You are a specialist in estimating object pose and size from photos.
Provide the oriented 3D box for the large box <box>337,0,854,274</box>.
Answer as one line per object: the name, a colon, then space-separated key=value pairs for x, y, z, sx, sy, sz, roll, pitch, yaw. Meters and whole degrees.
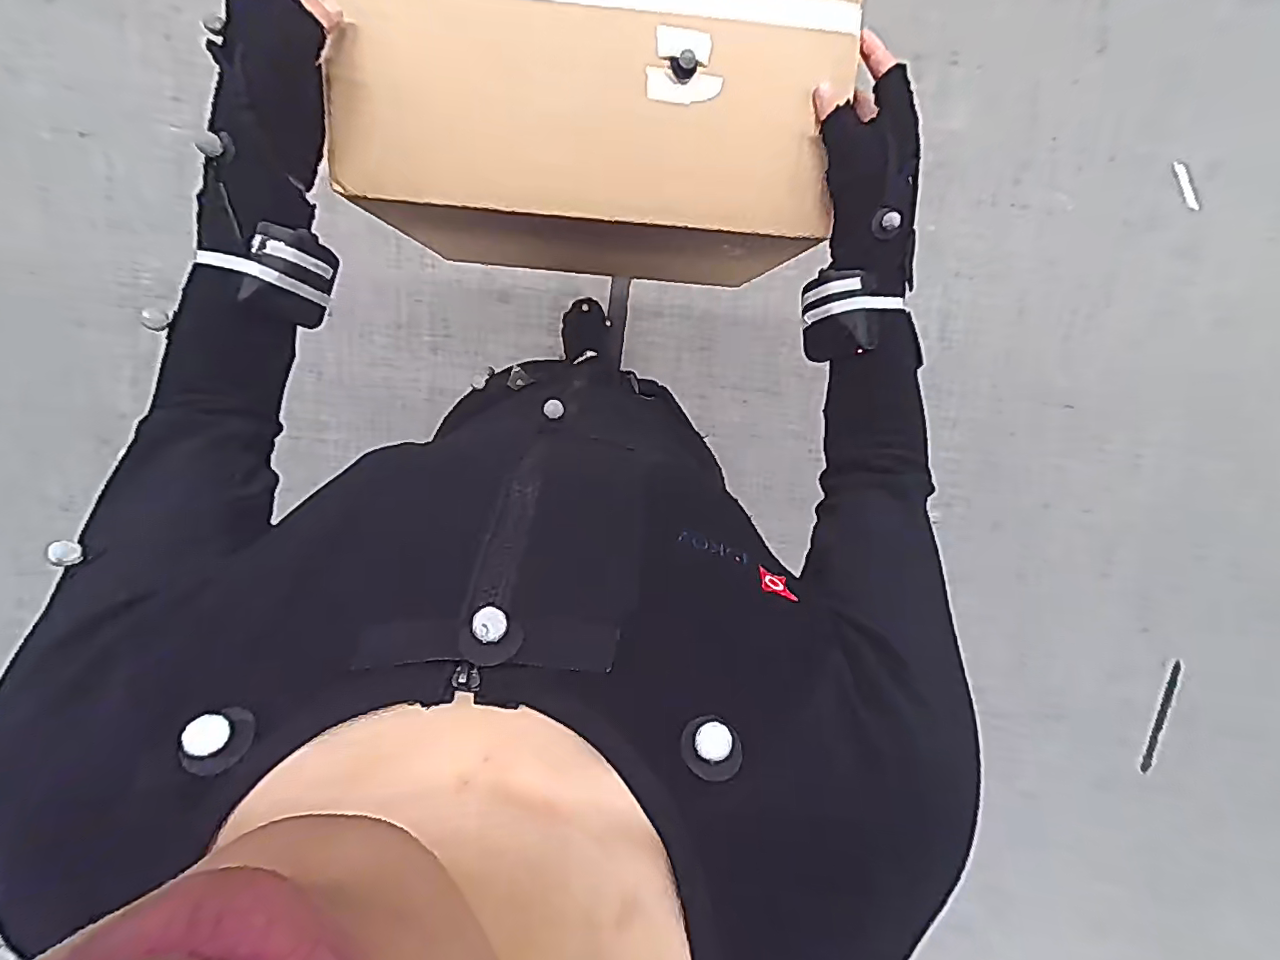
large box: x=-0.041 y=-0.408 z=0.560 sx=0.408 sy=0.320 sz=0.320 roll=3 pitch=103 yaw=-5
